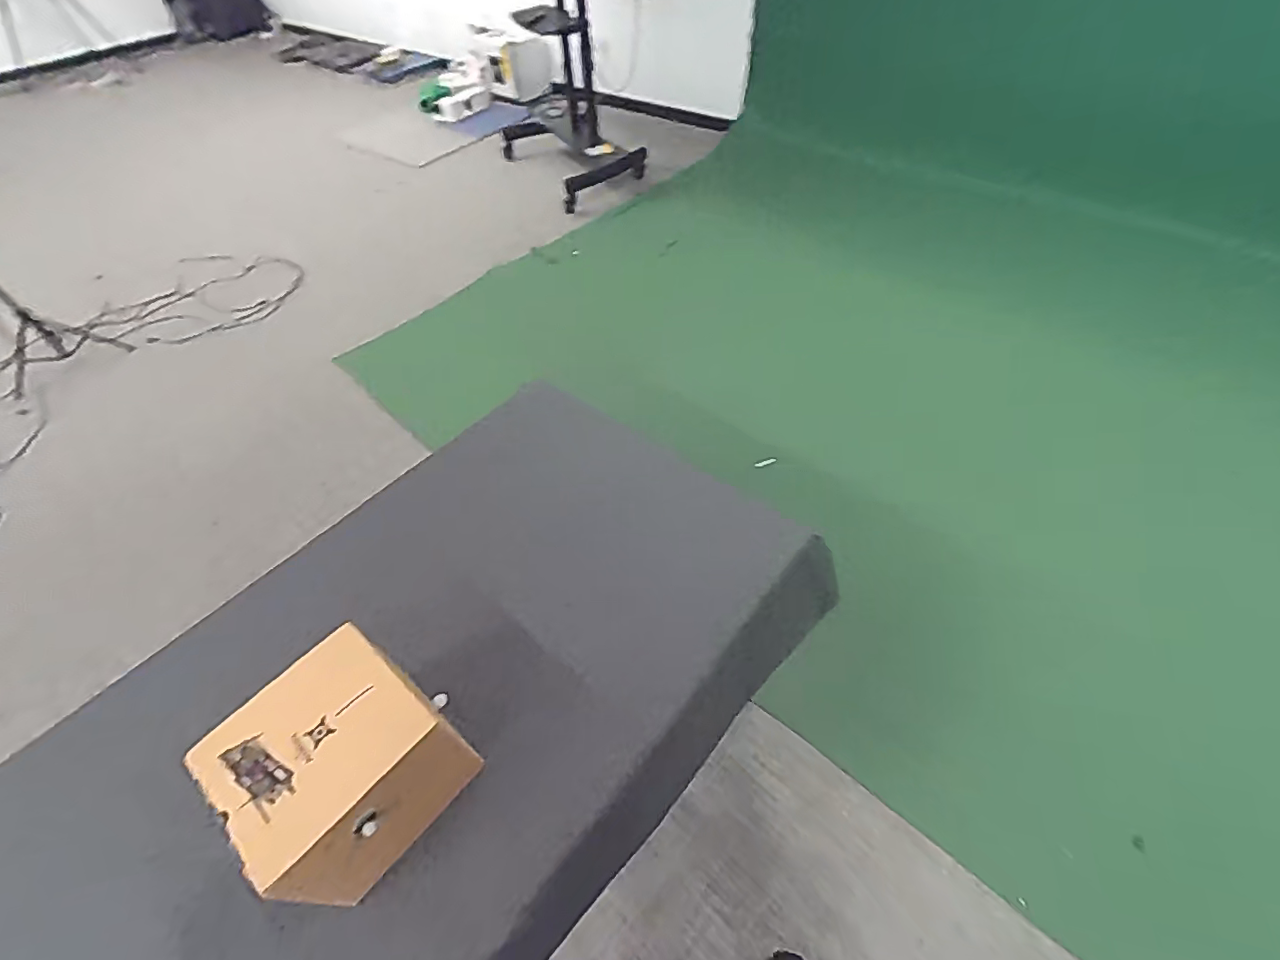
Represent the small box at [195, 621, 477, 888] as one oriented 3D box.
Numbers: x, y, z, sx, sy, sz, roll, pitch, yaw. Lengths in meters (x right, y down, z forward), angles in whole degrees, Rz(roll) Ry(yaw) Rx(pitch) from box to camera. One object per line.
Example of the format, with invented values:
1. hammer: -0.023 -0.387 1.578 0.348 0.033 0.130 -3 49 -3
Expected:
1. small box: -0.306 0.295 0.580 0.168 0.176 0.179 32 58 27
